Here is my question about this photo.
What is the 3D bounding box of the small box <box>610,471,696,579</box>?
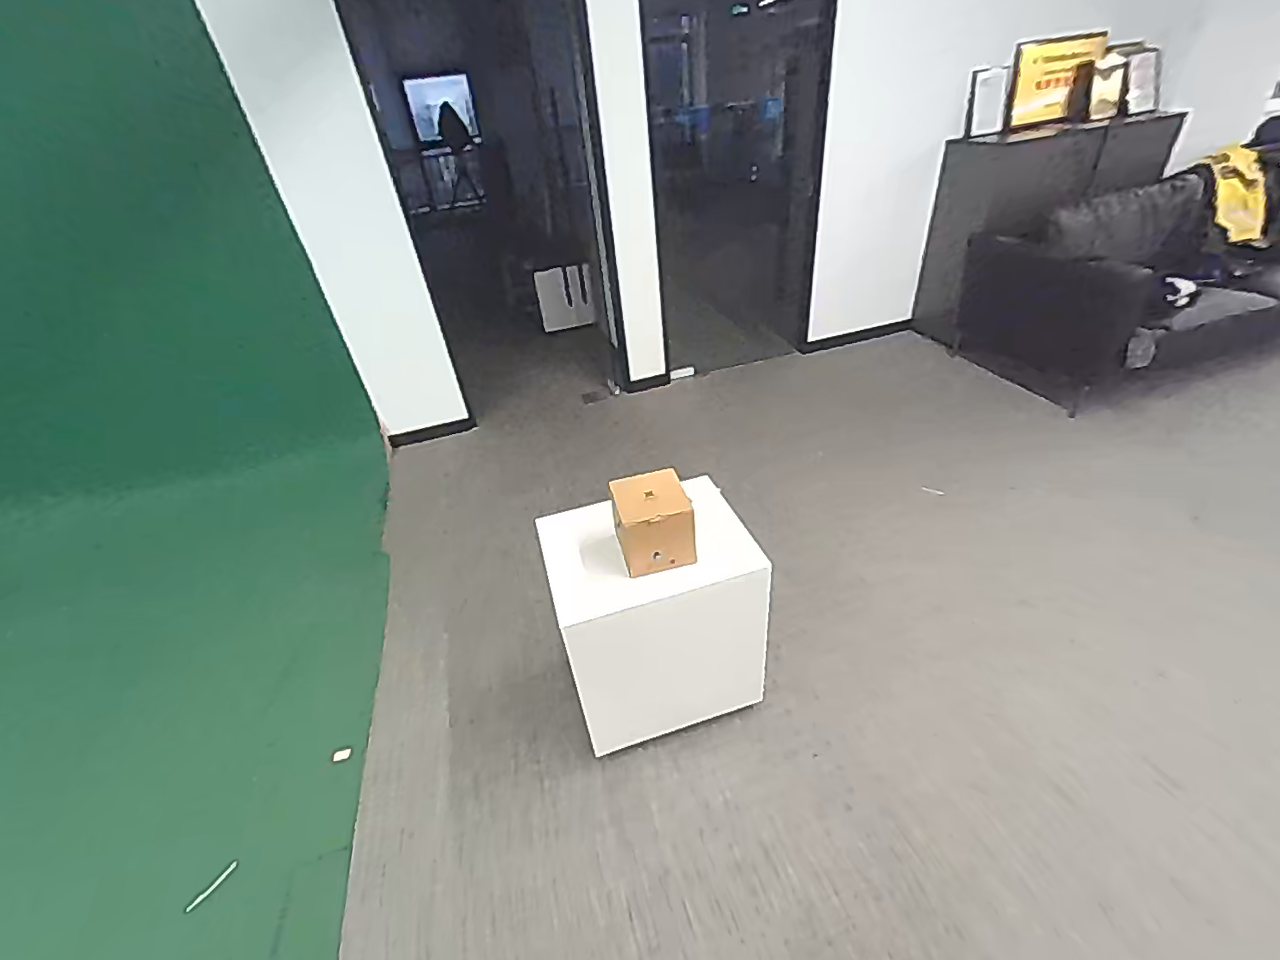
[{"bbox_3d":[0.030,0.106,1.290,0.168,0.176,0.179,-13,35,-8],"label":"small box"}]
